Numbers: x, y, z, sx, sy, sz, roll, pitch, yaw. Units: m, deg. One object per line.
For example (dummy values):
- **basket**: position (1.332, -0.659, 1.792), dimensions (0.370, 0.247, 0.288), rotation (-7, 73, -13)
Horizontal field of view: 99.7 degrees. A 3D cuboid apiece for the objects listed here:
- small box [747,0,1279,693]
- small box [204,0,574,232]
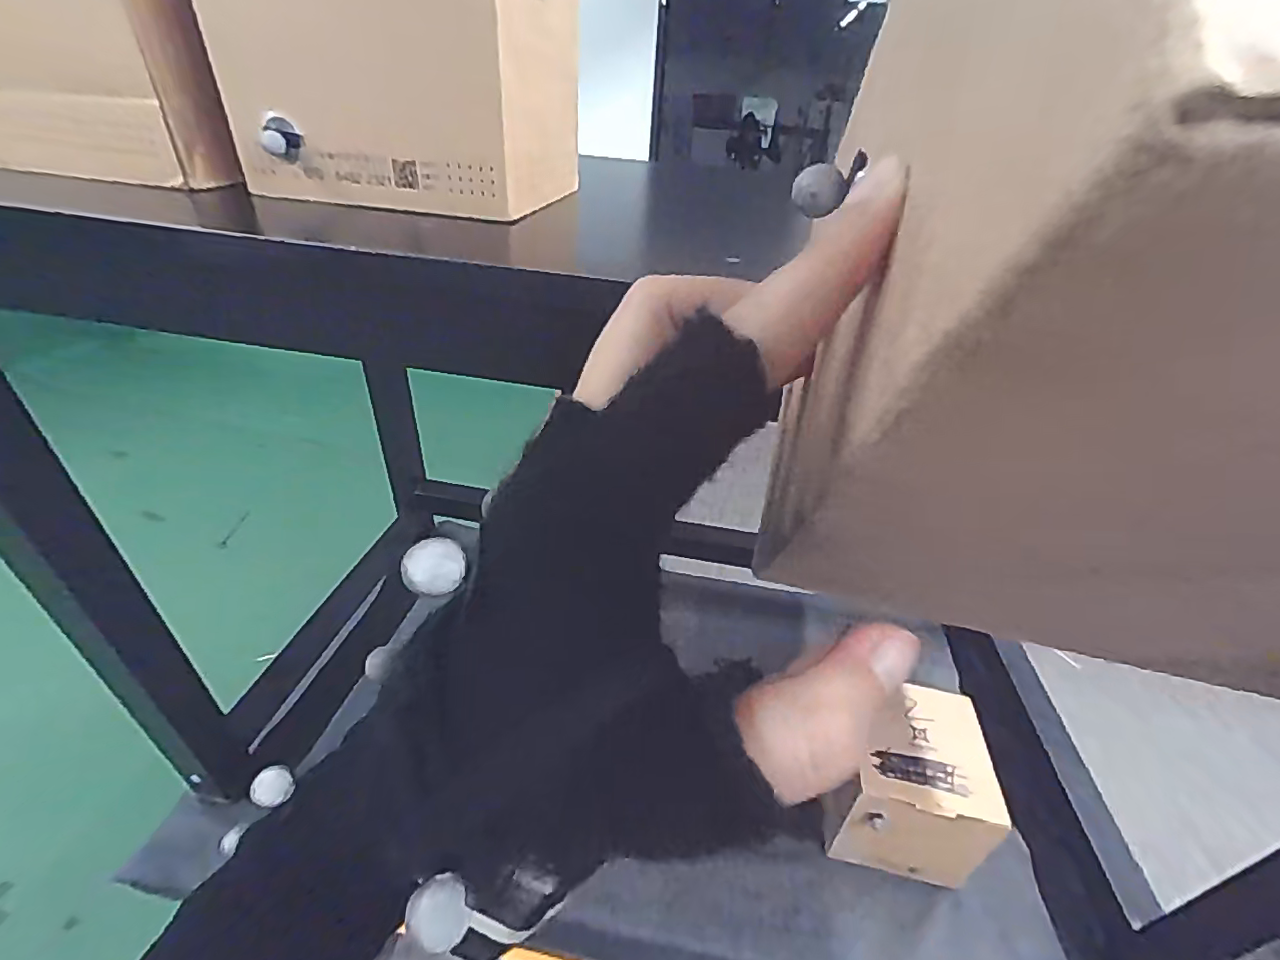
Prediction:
- **small box**: position (0.131, -0.048, 0.132), dimensions (0.179, 0.176, 0.168), rotation (12, 71, 7)
- **small box**: position (-0.140, -0.269, 0.353), dimensions (0.168, 0.176, 0.179), rotation (8, 34, 4)
